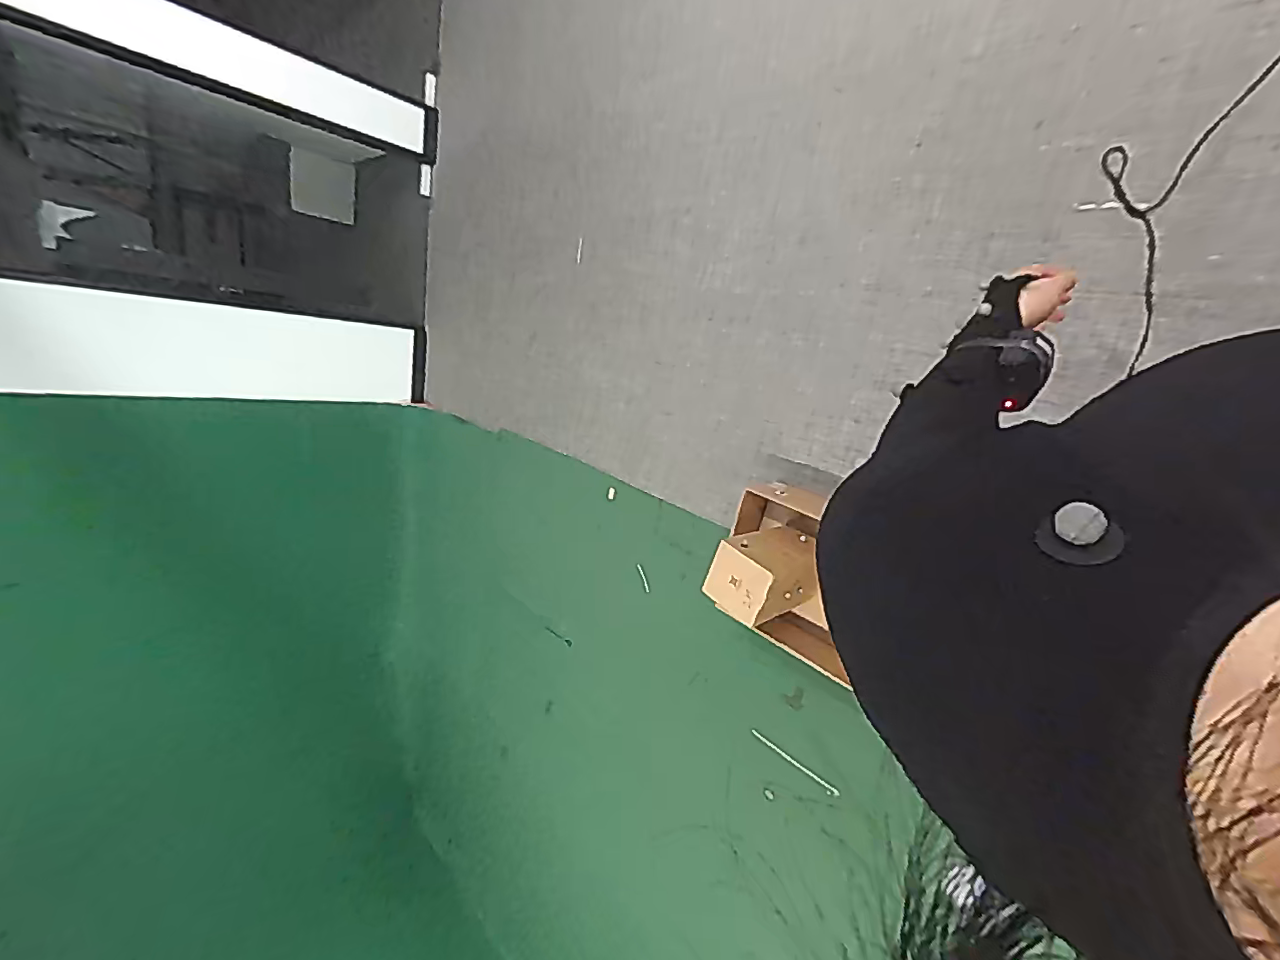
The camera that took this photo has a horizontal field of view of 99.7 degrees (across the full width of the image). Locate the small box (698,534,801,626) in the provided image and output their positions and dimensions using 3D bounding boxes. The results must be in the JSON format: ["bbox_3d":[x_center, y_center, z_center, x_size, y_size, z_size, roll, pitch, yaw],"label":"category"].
[{"bbox_3d":[0.293,0.258,1.444,0.179,0.176,0.168,33,115,36],"label":"small box"}]

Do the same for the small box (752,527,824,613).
[{"bbox_3d":[0.405,0.252,1.564,0.168,0.176,0.179,33,114,37],"label":"small box"}]
